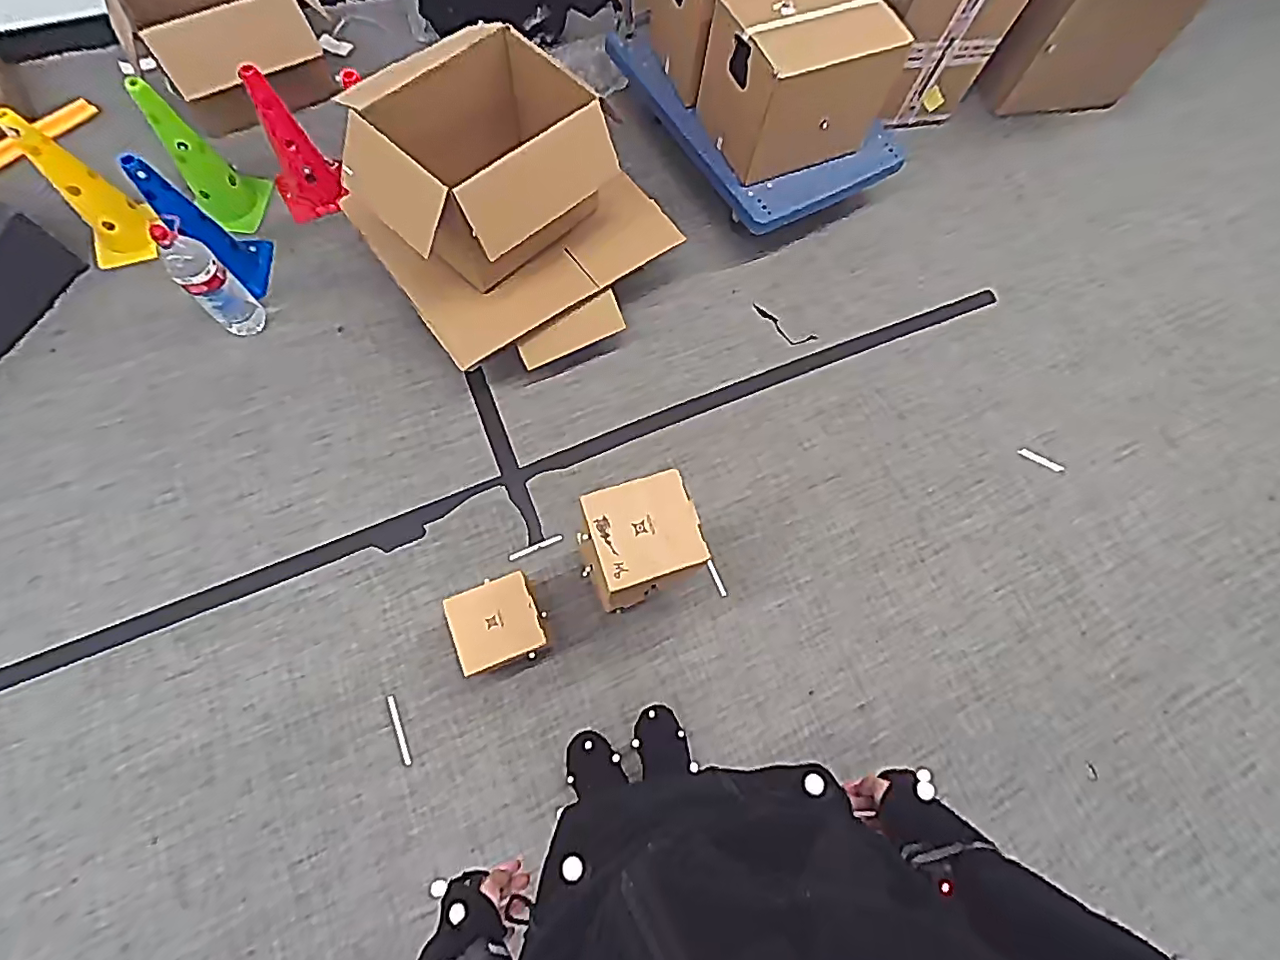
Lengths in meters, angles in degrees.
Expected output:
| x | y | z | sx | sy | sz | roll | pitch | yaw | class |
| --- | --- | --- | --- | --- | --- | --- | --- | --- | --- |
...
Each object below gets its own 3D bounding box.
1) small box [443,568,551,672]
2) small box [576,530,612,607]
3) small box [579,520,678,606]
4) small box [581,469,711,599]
| x | y | z | sx | sy | sz | roll | pitch | yaw | class |
| --- | --- | --- | --- | --- | --- | --- | --- | --- | --- |
| -0.309 | 0.314 | 1.196 | 0.179 | 0.176 | 0.168 | -21 | 74 | -12 | small box |
| -0.041 | 0.187 | 1.262 | 0.168 | 0.176 | 0.179 | -22 | 74 | -12 | small box |
| -0.015 | 0.148 | 1.104 | 0.179 | 0.176 | 0.168 | -19 | 75 | -12 | small box |
| 0.001 | 0.100 | 0.948 | 0.179 | 0.176 | 0.168 | -16 | 74 | -12 | small box |
